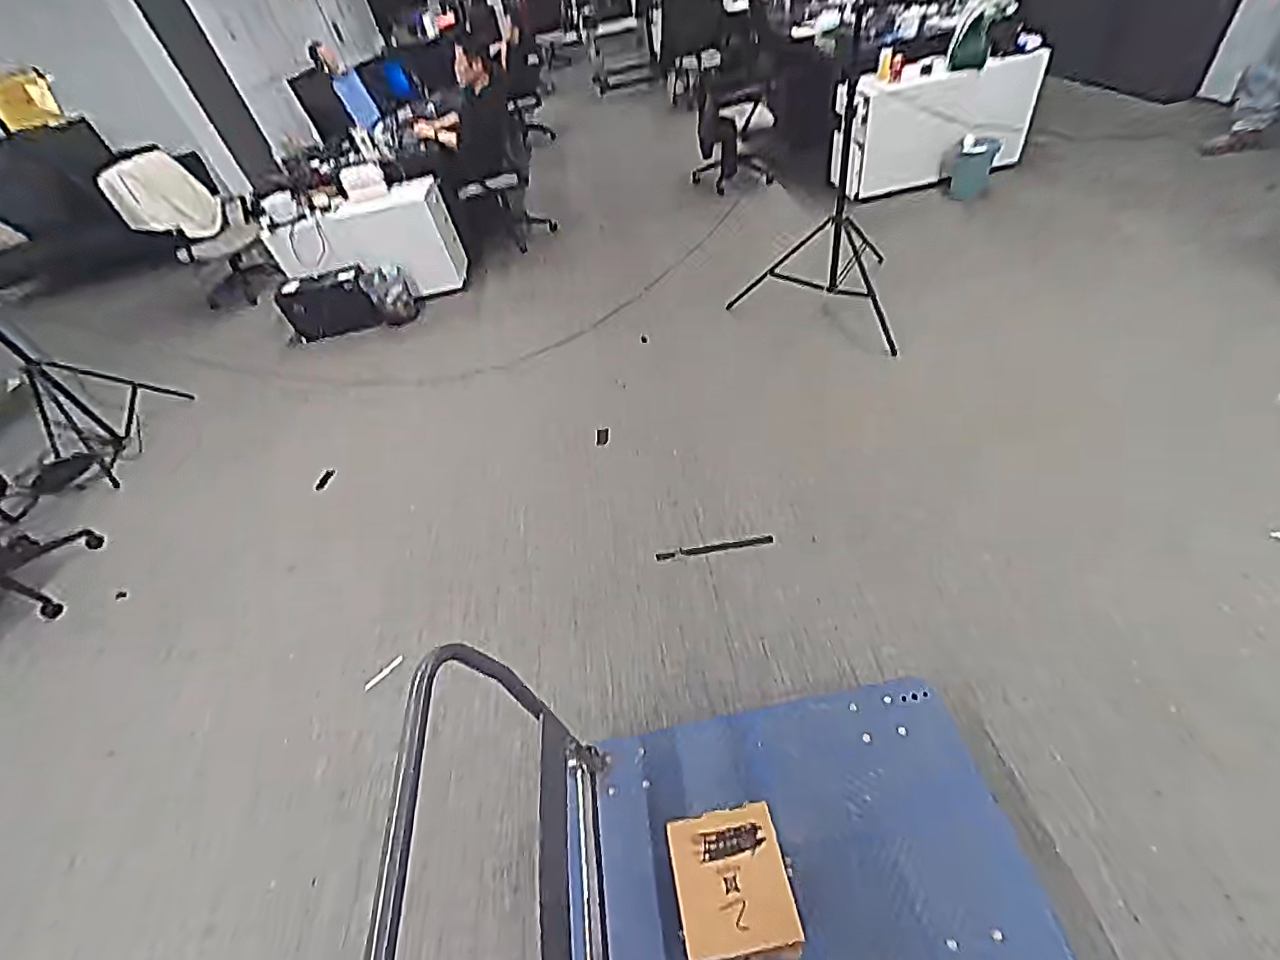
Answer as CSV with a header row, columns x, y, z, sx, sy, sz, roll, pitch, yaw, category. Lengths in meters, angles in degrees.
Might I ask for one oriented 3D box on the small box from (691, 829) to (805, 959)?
x,y,z,sx,sy,sz,roll,pitch,yaw,category
0.188,0.755,0.969,0.168,0.176,0.179,-10,45,5,small box
